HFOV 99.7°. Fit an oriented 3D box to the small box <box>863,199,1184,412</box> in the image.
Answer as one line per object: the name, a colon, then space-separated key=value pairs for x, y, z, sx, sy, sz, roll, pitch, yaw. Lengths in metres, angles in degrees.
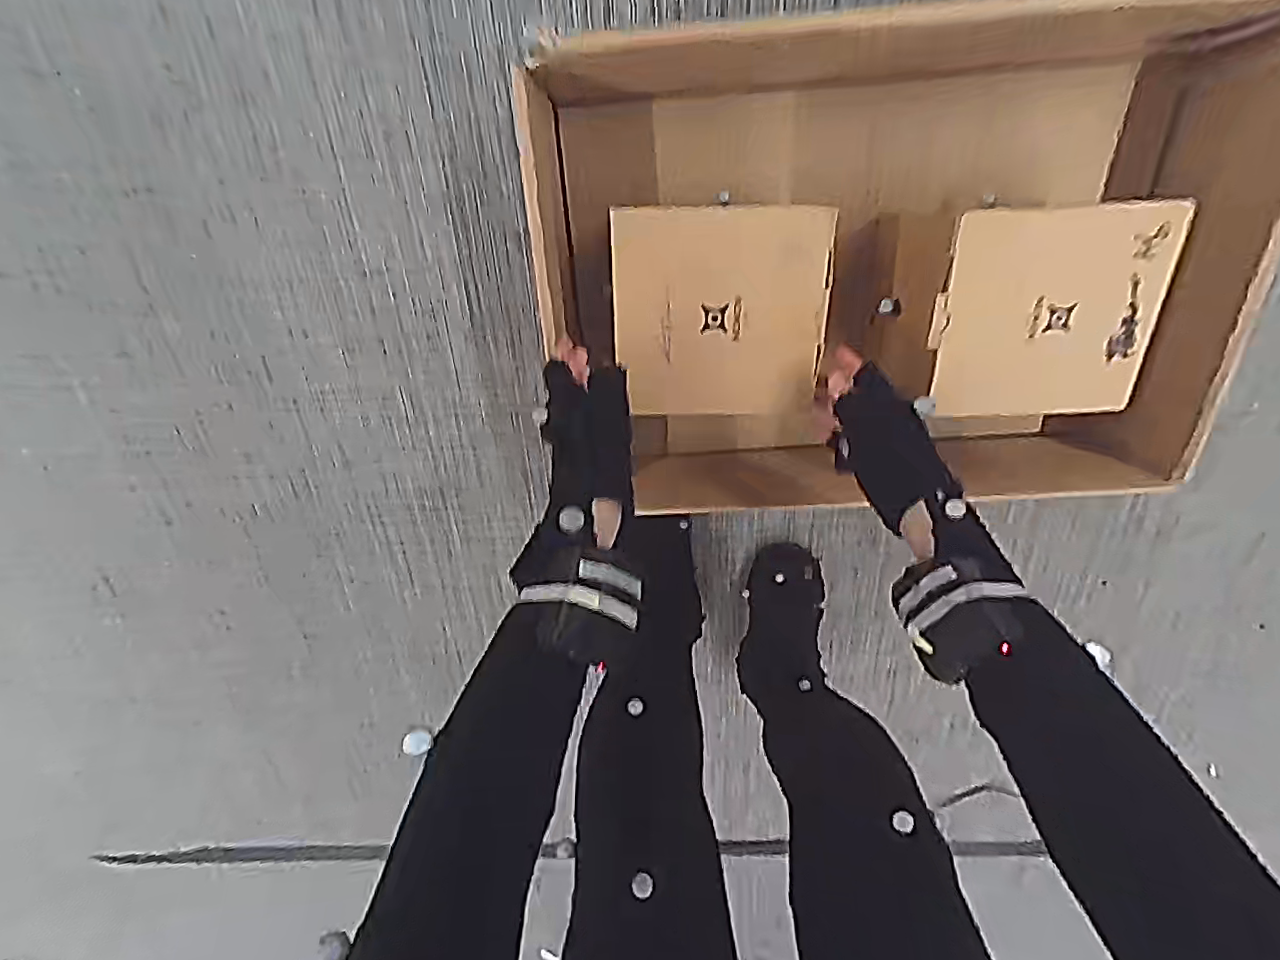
small box: x=0.332 y=-0.169 z=0.517 sx=0.179 sy=0.176 sz=0.168 roll=-2 pitch=115 yaw=3

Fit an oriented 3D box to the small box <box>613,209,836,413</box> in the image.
small box: x=0.065 y=-0.167 z=0.520 sx=0.179 sy=0.176 sz=0.168 roll=0 pitch=114 yaw=1
